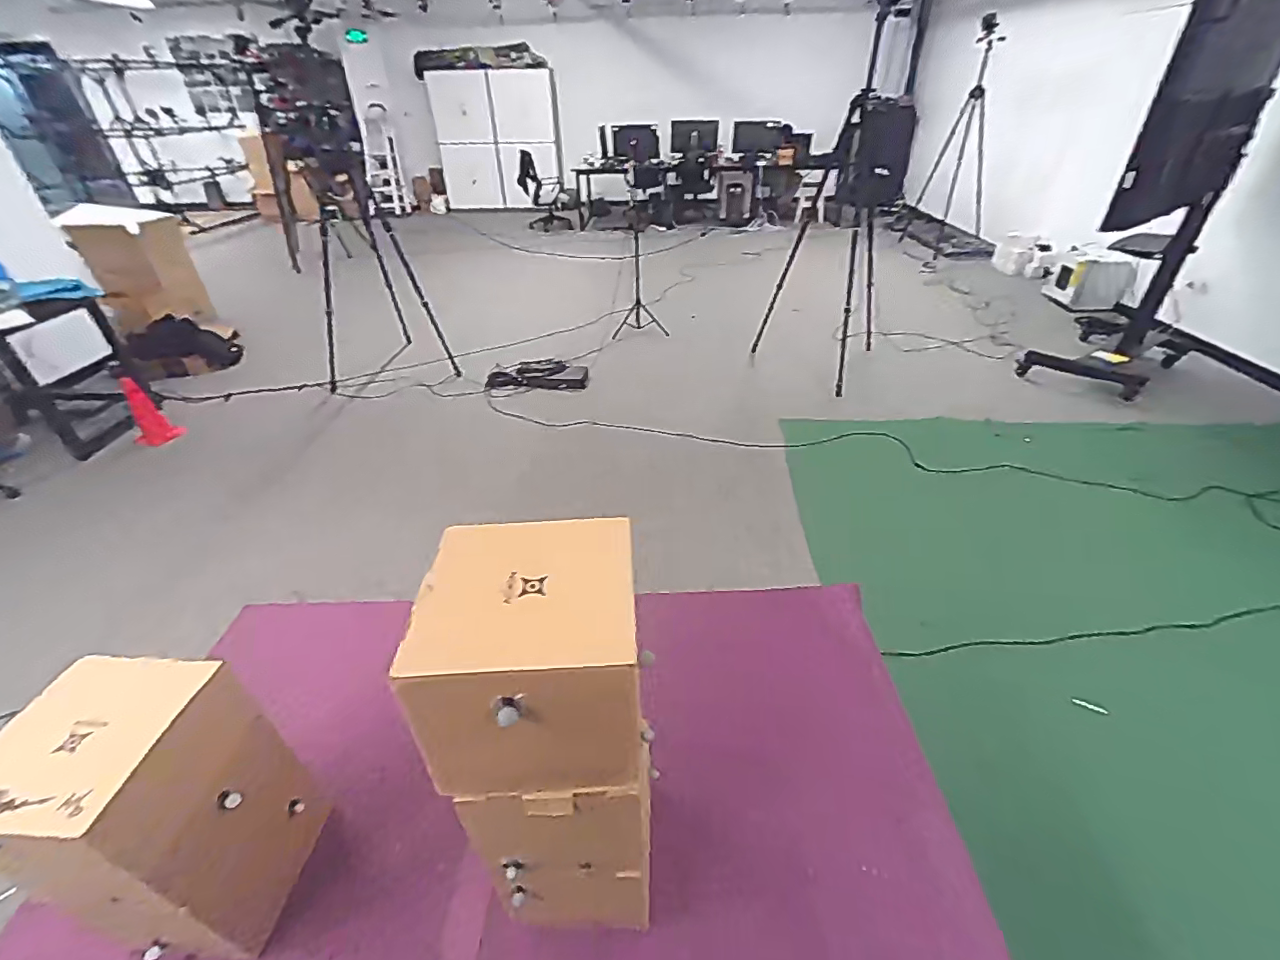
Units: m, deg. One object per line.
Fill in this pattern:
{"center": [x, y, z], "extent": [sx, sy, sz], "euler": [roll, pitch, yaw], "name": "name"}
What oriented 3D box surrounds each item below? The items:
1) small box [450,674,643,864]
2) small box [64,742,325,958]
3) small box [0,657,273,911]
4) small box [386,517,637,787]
{"center": [-0.083, 0.287, 0.583], "extent": [0.168, 0.176, 0.179], "euler": [-2, 34, 0], "name": "small box"}
{"center": [-0.526, 0.447, 0.667], "extent": [0.168, 0.176, 0.179], "euler": [0, 37, 5], "name": "small box"}
{"center": [-0.533, 0.313, 0.571], "extent": [0.168, 0.176, 0.179], "euler": [0, 34, 5], "name": "small box"}
{"center": [-0.093, 0.153, 0.491], "extent": [0.179, 0.176, 0.168], "euler": [-4, 35, -1], "name": "small box"}
